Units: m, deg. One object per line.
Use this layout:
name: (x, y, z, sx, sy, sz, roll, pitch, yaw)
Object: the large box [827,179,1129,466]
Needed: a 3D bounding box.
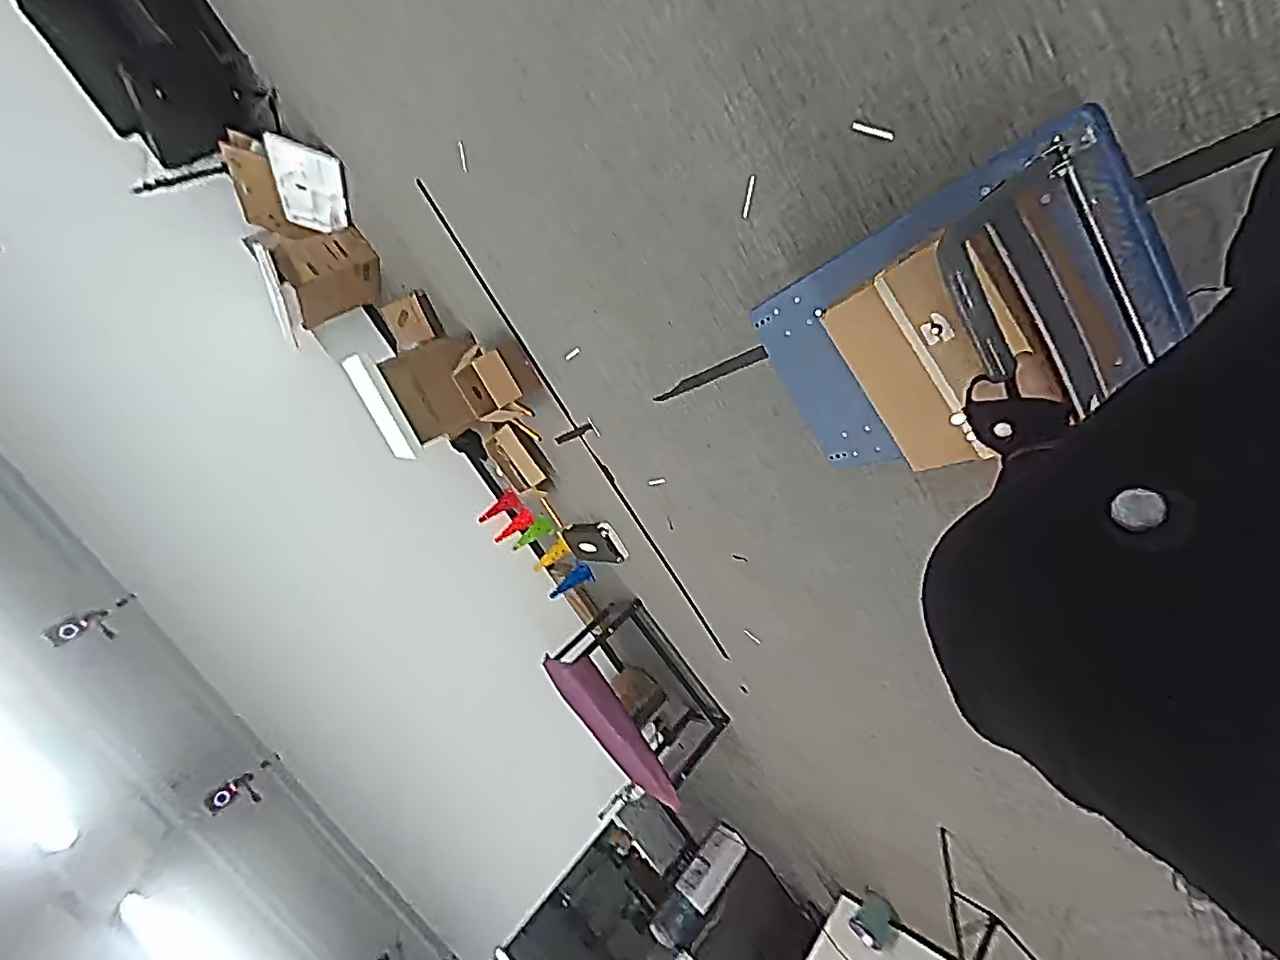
large box: (0.672, -0.299, 1.087, 0.408, 0.320, 0.320, 56, 150, -5)
